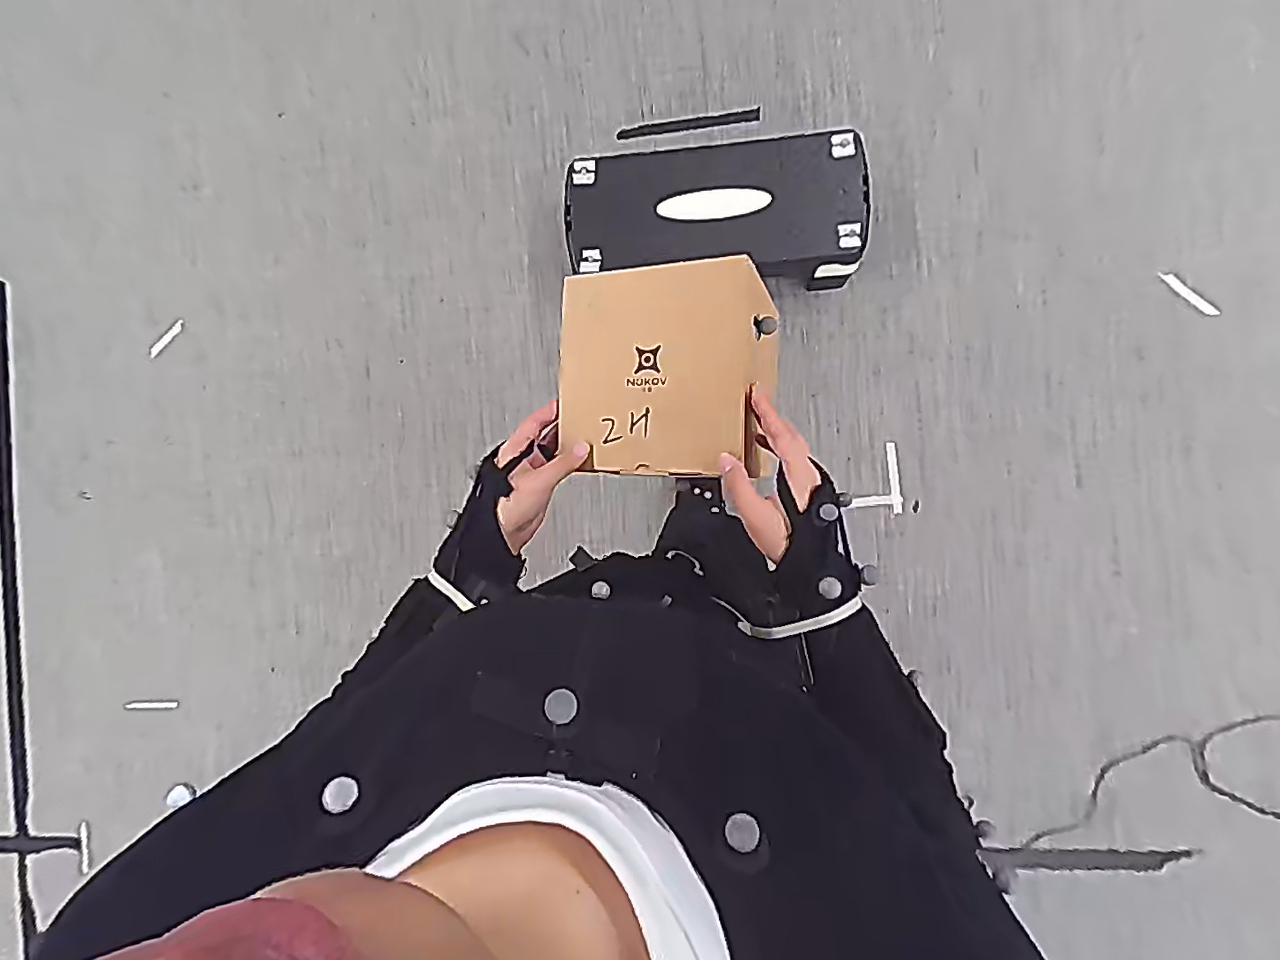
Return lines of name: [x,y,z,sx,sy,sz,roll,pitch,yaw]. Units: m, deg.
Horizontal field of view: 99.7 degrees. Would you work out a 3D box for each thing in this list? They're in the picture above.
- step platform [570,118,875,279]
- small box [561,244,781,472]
step platform: [0.179,-0.623,1.266,0.684,0.204,0.286,-4,89,6]
small box: [0.040,-0.099,0.520,0.168,0.176,0.179,2,91,23]
